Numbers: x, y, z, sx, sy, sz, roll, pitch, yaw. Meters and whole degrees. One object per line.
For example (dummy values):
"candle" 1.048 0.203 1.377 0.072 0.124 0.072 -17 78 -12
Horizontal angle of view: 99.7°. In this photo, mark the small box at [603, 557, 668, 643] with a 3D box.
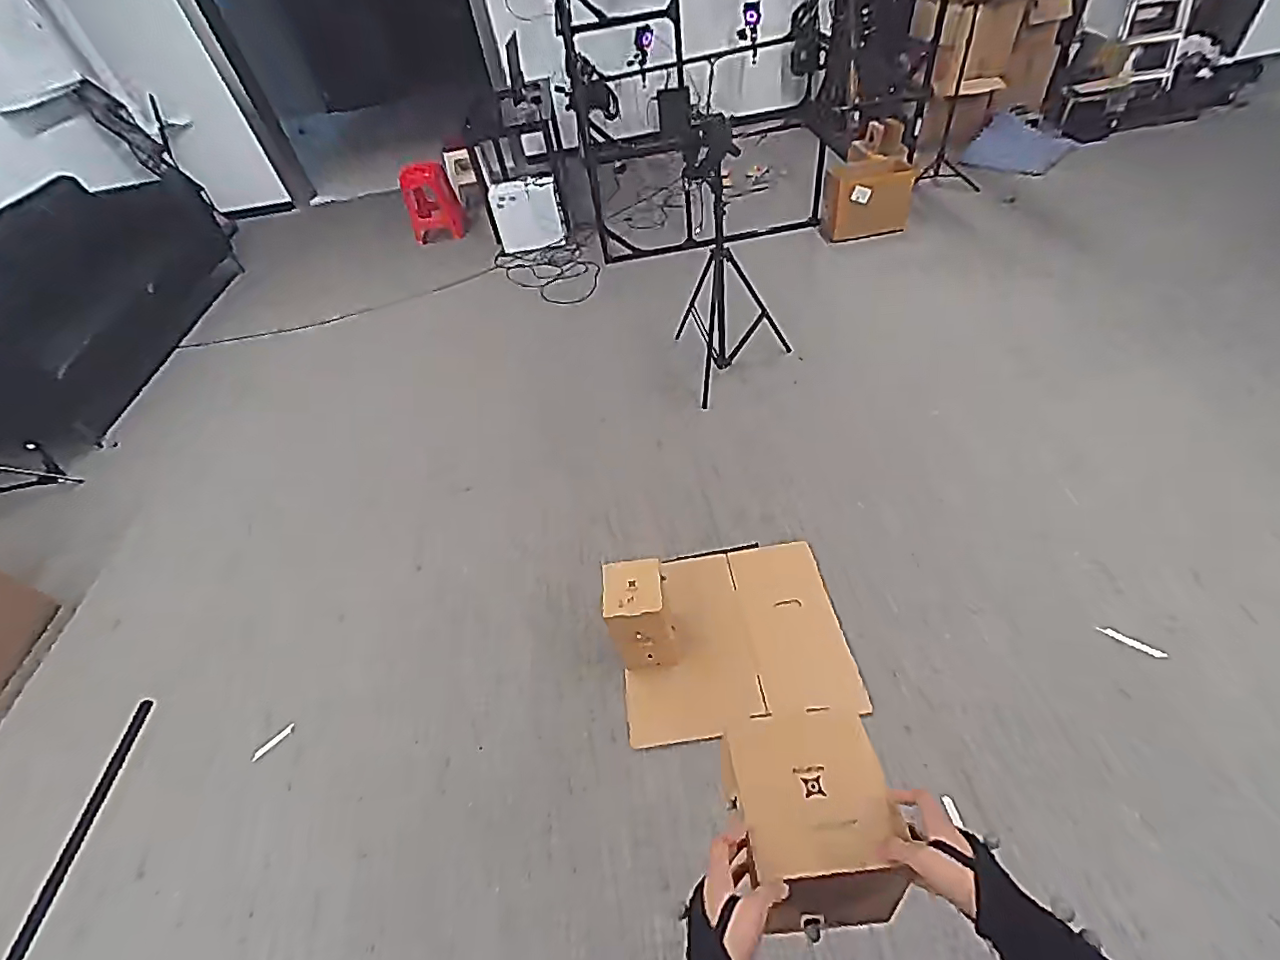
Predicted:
"small box" -0.012 0.348 1.564 0.168 0.176 0.179 -8 47 5

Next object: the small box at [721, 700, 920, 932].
"small box" 0.191 0.391 0.636 0.168 0.176 0.179 -5 35 -1

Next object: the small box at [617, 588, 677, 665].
"small box" 0.021 0.462 1.680 0.168 0.176 0.179 -8 48 3
